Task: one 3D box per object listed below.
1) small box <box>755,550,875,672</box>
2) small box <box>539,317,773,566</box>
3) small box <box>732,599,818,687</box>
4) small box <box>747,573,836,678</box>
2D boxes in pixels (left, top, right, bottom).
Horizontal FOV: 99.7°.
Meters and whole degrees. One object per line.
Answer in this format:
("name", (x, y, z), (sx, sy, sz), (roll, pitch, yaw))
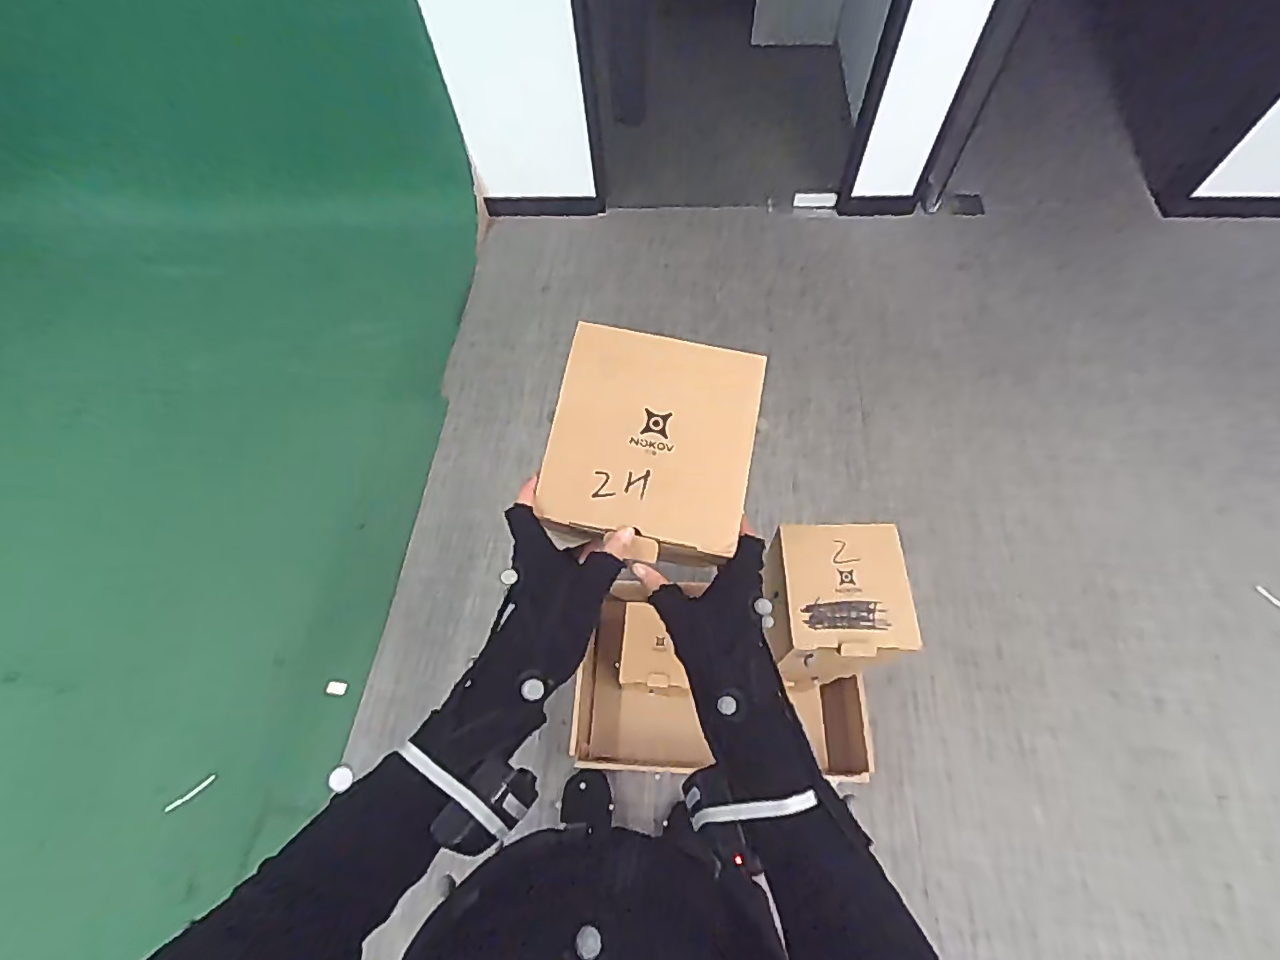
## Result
("small box", (0.297, 0.236, 0.954), (0.168, 0.176, 0.179), (2, 63, 4))
("small box", (0.014, -0.023, 0.517), (0.168, 0.176, 0.179), (11, 78, 2))
("small box", (0.306, 0.379, 1.249), (0.168, 0.176, 0.179), (-3, 62, 4))
("small box", (0.309, 0.296, 1.087), (0.168, 0.176, 0.179), (1, 63, 5))
